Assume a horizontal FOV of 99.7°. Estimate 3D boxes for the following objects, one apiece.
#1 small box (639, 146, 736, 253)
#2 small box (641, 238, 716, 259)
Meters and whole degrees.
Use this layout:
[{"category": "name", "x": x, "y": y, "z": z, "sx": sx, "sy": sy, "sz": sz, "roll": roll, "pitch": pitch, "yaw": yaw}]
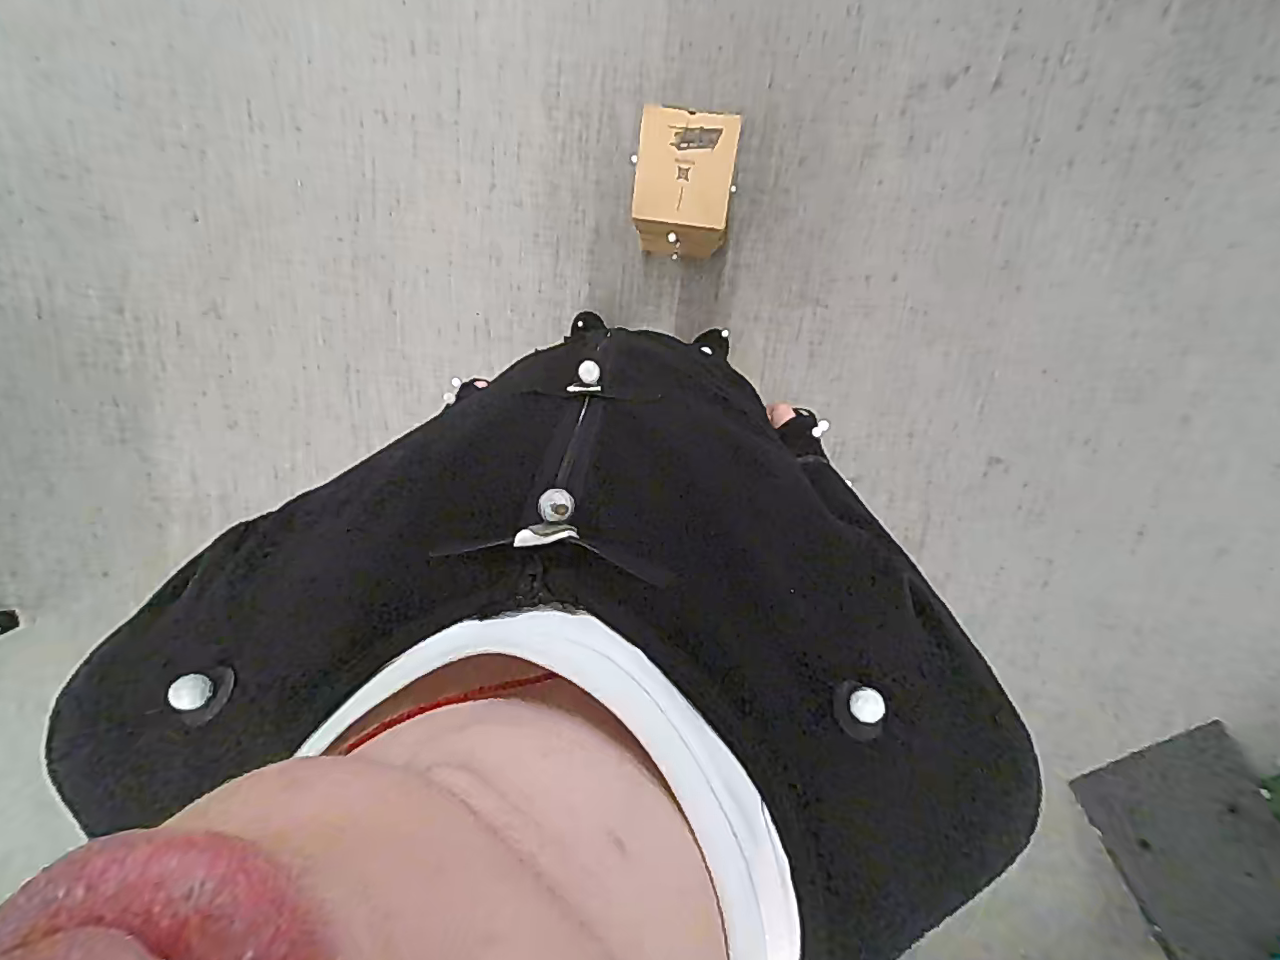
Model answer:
[{"category": "small box", "x": 0.095, "y": -0.590, "z": 1.156, "sx": 0.179, "sy": 0.176, "sz": 0.168, "roll": 7, "pitch": 107, "yaw": -1}, {"category": "small box", "x": 0.100, "y": -0.639, "z": 1.311, "sx": 0.179, "sy": 0.176, "sz": 0.168, "roll": 7, "pitch": 107, "yaw": -1}]
